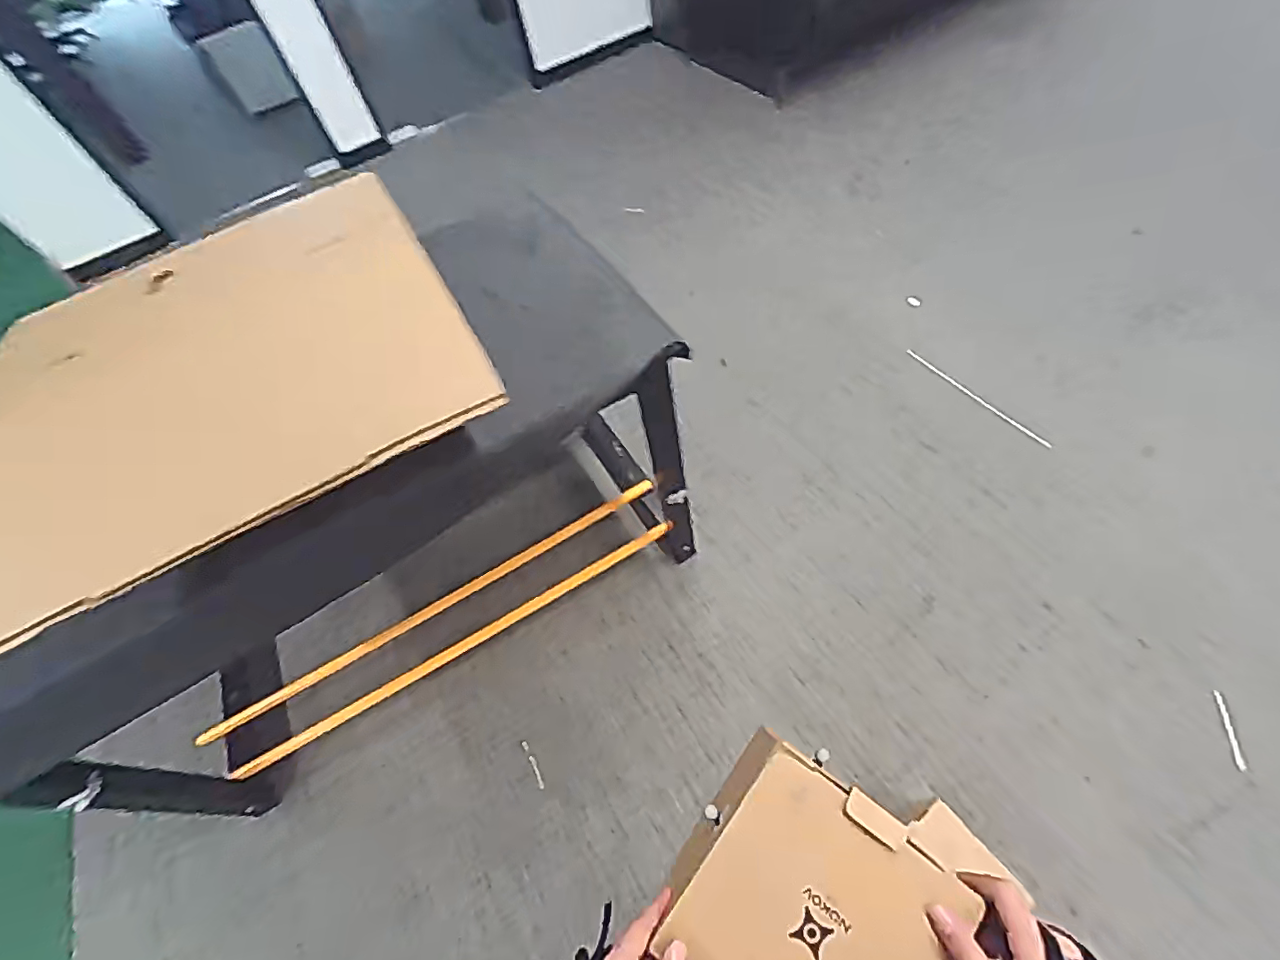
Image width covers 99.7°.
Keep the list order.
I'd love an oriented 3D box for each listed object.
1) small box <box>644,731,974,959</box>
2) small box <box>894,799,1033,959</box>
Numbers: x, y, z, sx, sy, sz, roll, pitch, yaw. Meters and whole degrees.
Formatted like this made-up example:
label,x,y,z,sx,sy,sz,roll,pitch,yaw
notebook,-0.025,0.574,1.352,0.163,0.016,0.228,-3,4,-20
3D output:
label,x,y,z,sx,sy,sz,roll,pitch,yaw
small box,0.124,0.335,0.449,0.168,0.176,0.179,34,78,18
small box,0.511,0.693,0.934,0.168,0.176,0.179,-34,57,-13
